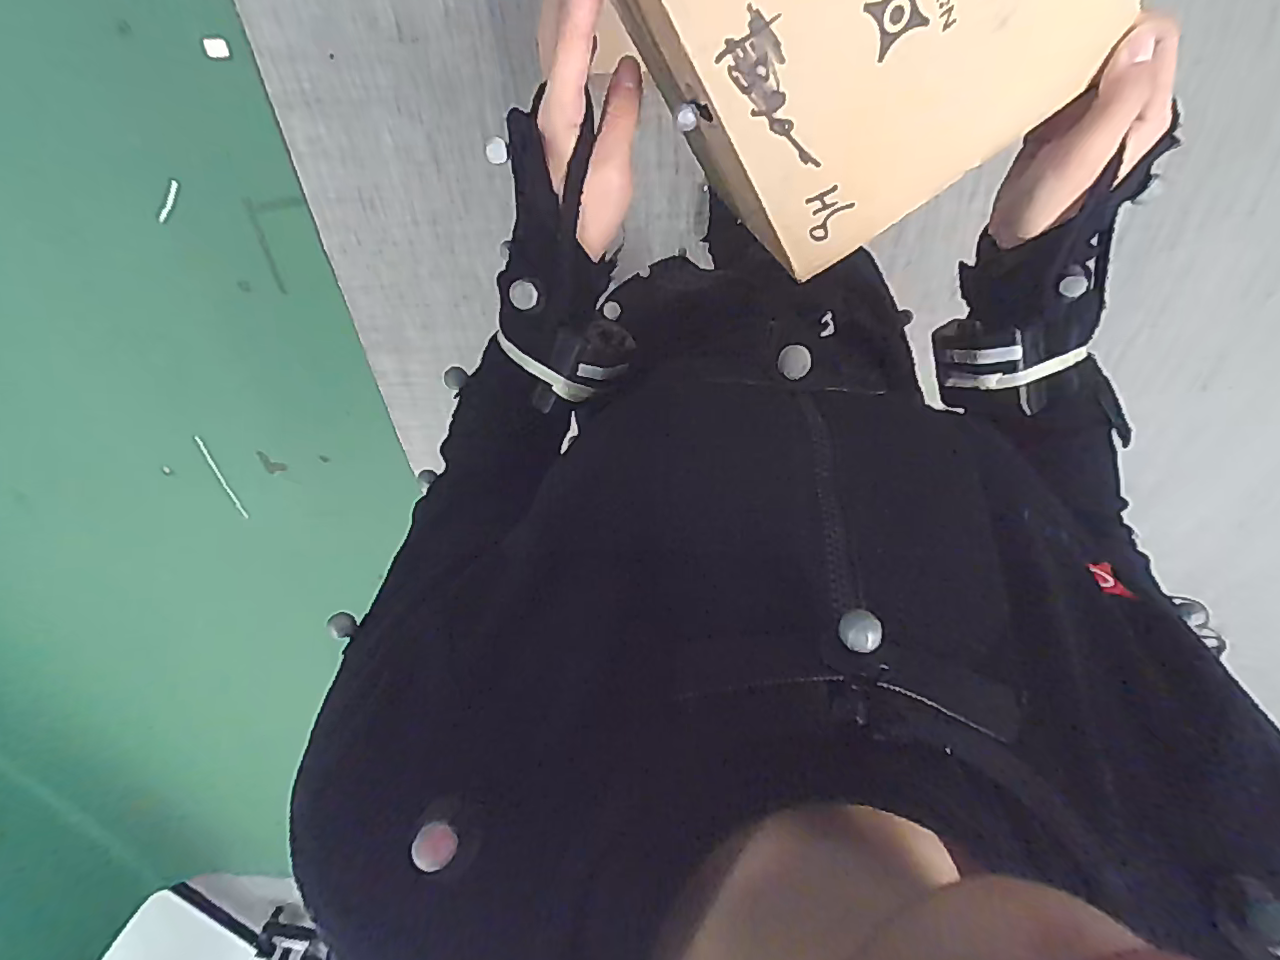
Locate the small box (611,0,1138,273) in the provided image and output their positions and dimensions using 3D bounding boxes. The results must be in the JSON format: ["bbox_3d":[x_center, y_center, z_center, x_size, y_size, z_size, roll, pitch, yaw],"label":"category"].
[{"bbox_3d":[0.096,-0.251,0.274,0.179,0.176,0.168,-32,131,16],"label":"small box"}]
